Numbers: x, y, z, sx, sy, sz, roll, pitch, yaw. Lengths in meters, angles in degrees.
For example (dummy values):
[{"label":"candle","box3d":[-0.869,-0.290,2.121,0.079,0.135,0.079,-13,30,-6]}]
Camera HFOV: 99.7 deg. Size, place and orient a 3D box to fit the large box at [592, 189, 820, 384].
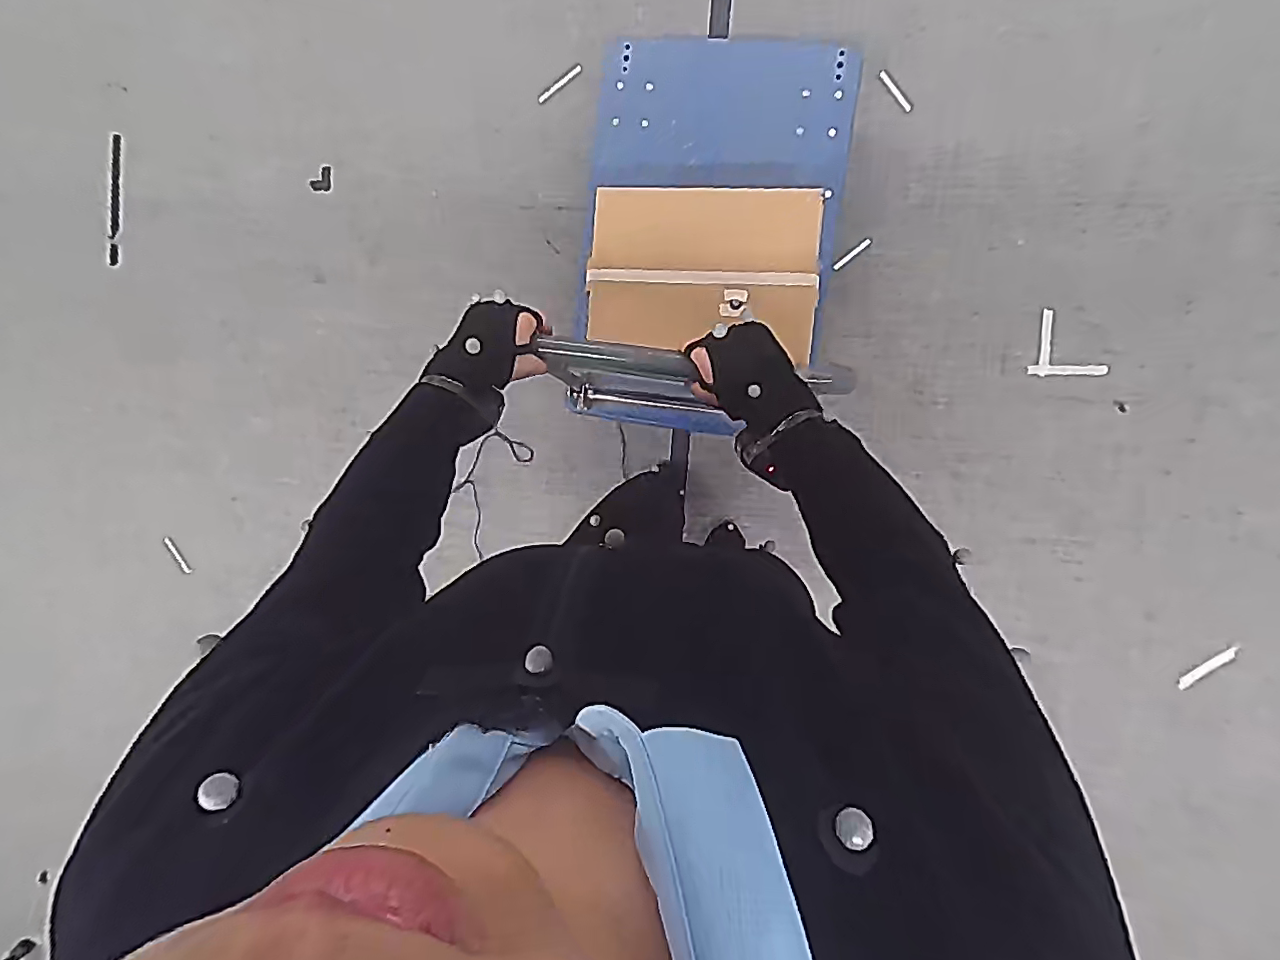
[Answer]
[{"label":"large box","box3d":[0.130,-0.377,1.128,0.408,0.320,0.320,4,95,7]}]
